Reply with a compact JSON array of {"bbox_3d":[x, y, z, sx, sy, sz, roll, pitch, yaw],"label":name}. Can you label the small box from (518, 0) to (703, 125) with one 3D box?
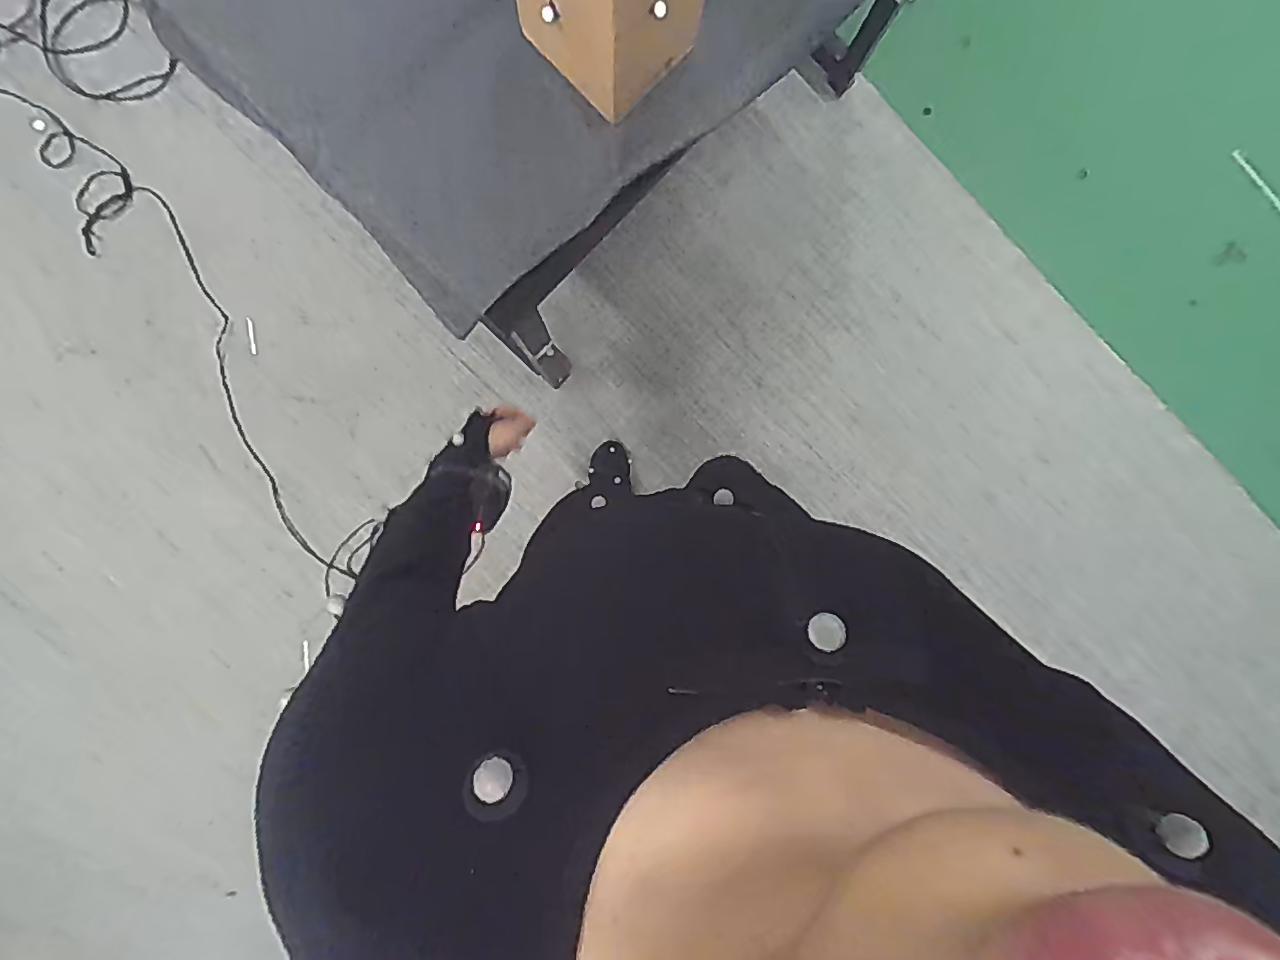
[{"bbox_3d":[-0.039,-0.586,0.650,0.179,0.176,0.168,44,89,-2],"label":"small box"}]
